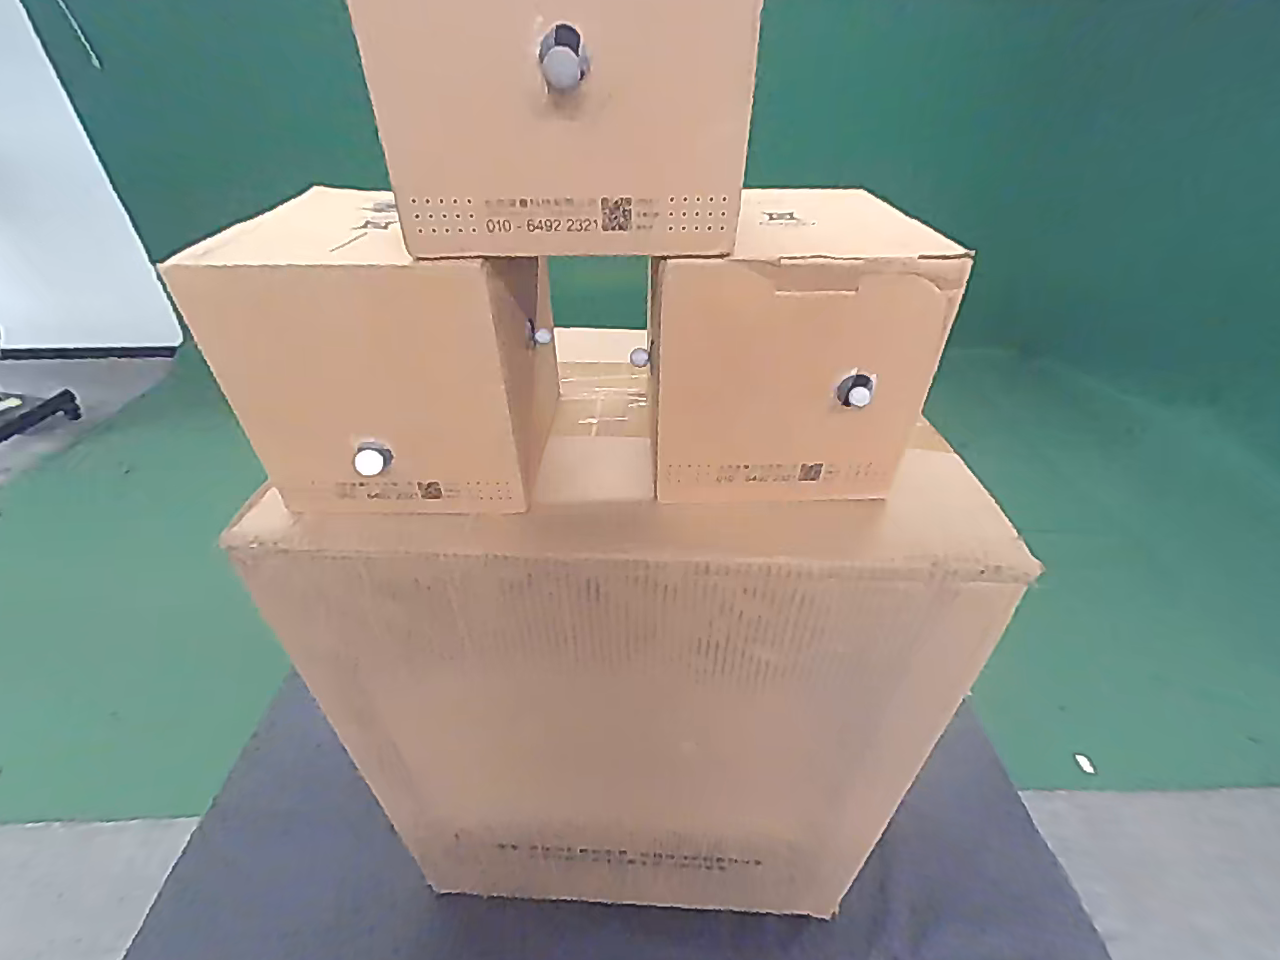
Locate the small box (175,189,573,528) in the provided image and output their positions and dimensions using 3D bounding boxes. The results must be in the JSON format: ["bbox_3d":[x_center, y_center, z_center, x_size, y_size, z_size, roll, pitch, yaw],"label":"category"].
[{"bbox_3d":[-0.142,-0.089,0.373,0.168,0.176,0.179,2,39,3],"label":"small box"}]

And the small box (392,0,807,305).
[{"bbox_3d":[-0.019,-0.202,0.291,0.168,0.176,0.179,-3,39,-6],"label":"small box"}]

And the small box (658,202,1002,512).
[{"bbox_3d":[0.103,-0.090,0.389,0.168,0.176,0.179,0,38,-4],"label":"small box"}]
